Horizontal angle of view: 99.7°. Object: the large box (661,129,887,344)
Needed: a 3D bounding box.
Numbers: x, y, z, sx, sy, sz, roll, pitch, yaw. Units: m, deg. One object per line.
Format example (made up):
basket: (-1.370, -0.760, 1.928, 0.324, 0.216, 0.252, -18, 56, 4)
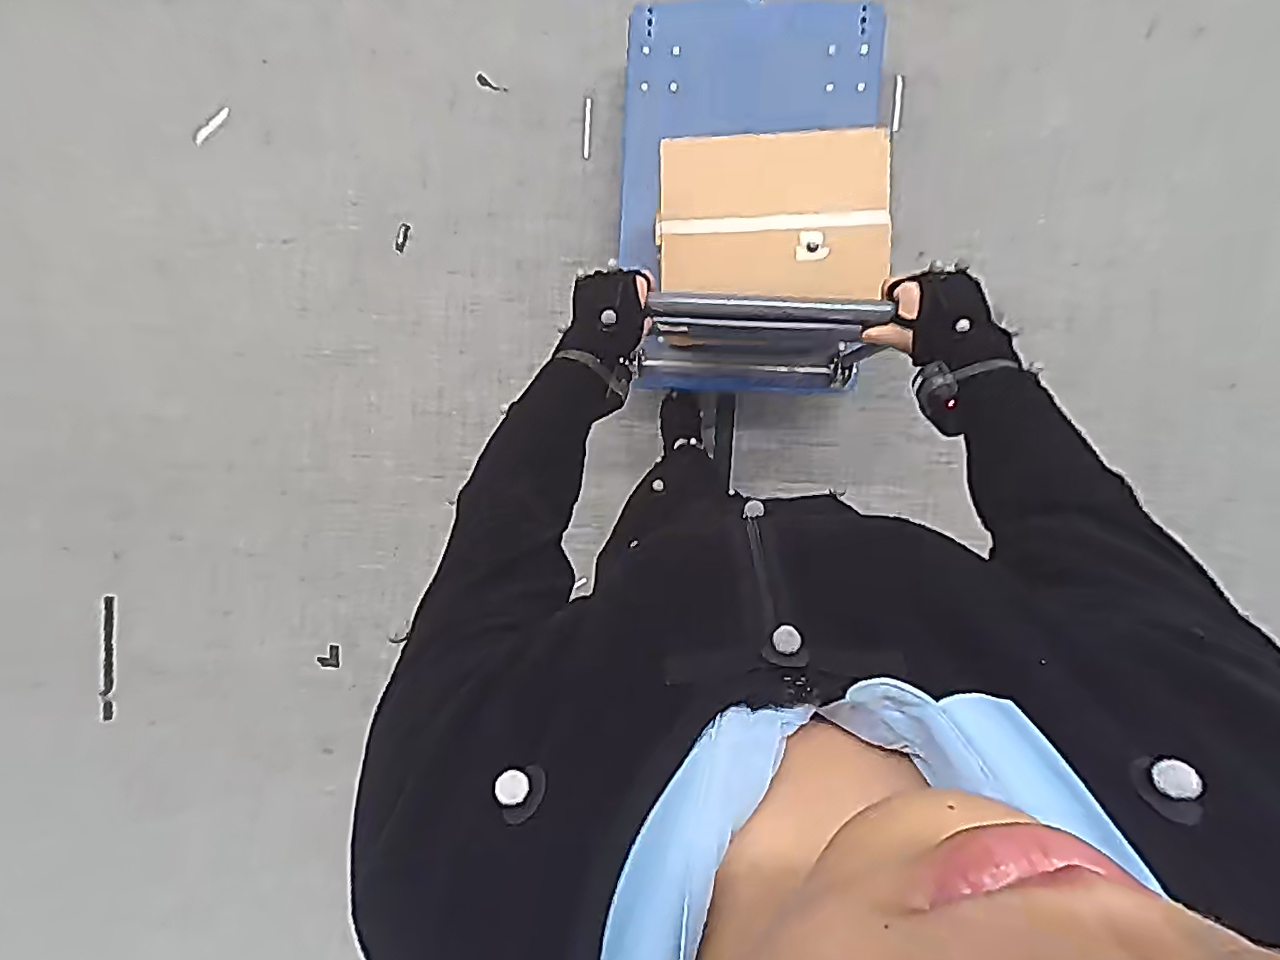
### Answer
large box: (0.251, -0.475, 1.127, 0.408, 0.320, 0.320, -1, 94, 3)
